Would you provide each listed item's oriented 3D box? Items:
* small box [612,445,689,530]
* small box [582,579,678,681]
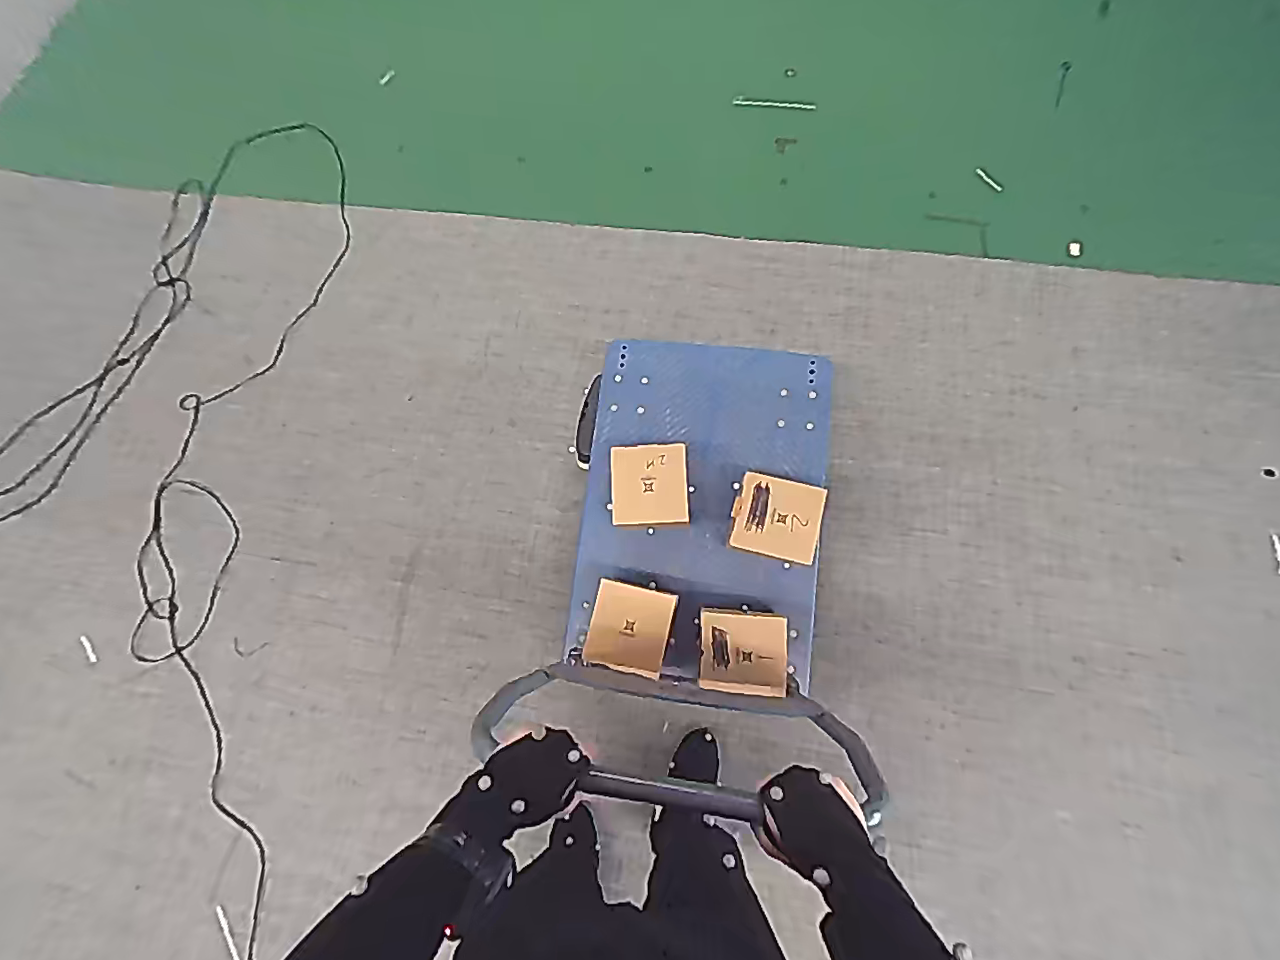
[{"bbox_3d":[0.029,0.025,1.248,0.168,0.176,0.179,-2,80,5],"label":"small box"},{"bbox_3d":[-0.016,0.323,1.201,0.168,0.176,0.179,13,82,7],"label":"small box"}]
